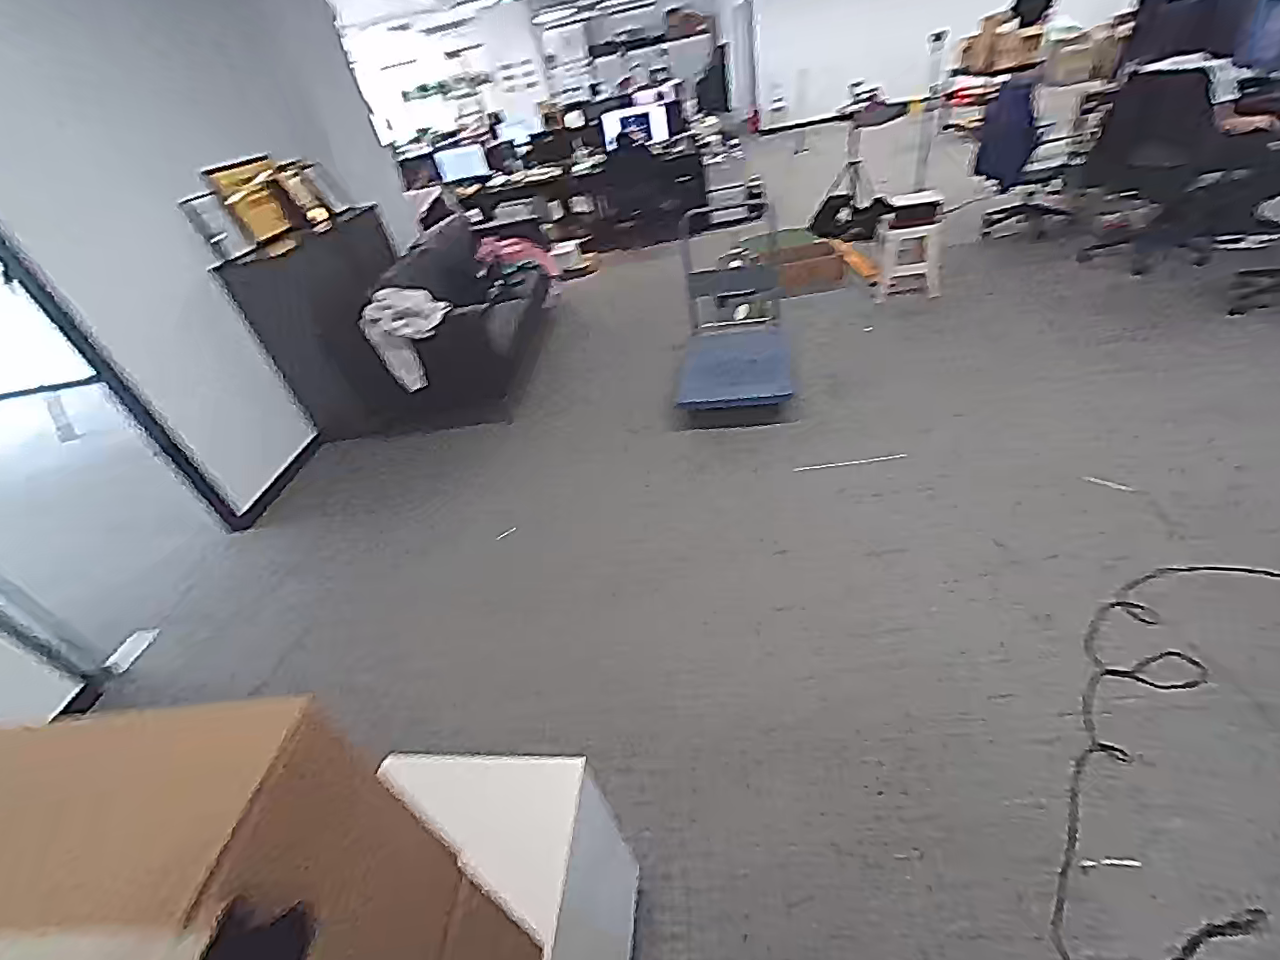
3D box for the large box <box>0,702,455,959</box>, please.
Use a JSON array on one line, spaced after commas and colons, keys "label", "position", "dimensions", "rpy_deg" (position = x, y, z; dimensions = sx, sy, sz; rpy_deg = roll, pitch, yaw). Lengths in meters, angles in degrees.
[{"label": "large box", "position": [-0.415, 0.406, 0.401], "dimensions": [0.408, 0.320, 0.320], "rpy_deg": [-8, 36, 7]}]
